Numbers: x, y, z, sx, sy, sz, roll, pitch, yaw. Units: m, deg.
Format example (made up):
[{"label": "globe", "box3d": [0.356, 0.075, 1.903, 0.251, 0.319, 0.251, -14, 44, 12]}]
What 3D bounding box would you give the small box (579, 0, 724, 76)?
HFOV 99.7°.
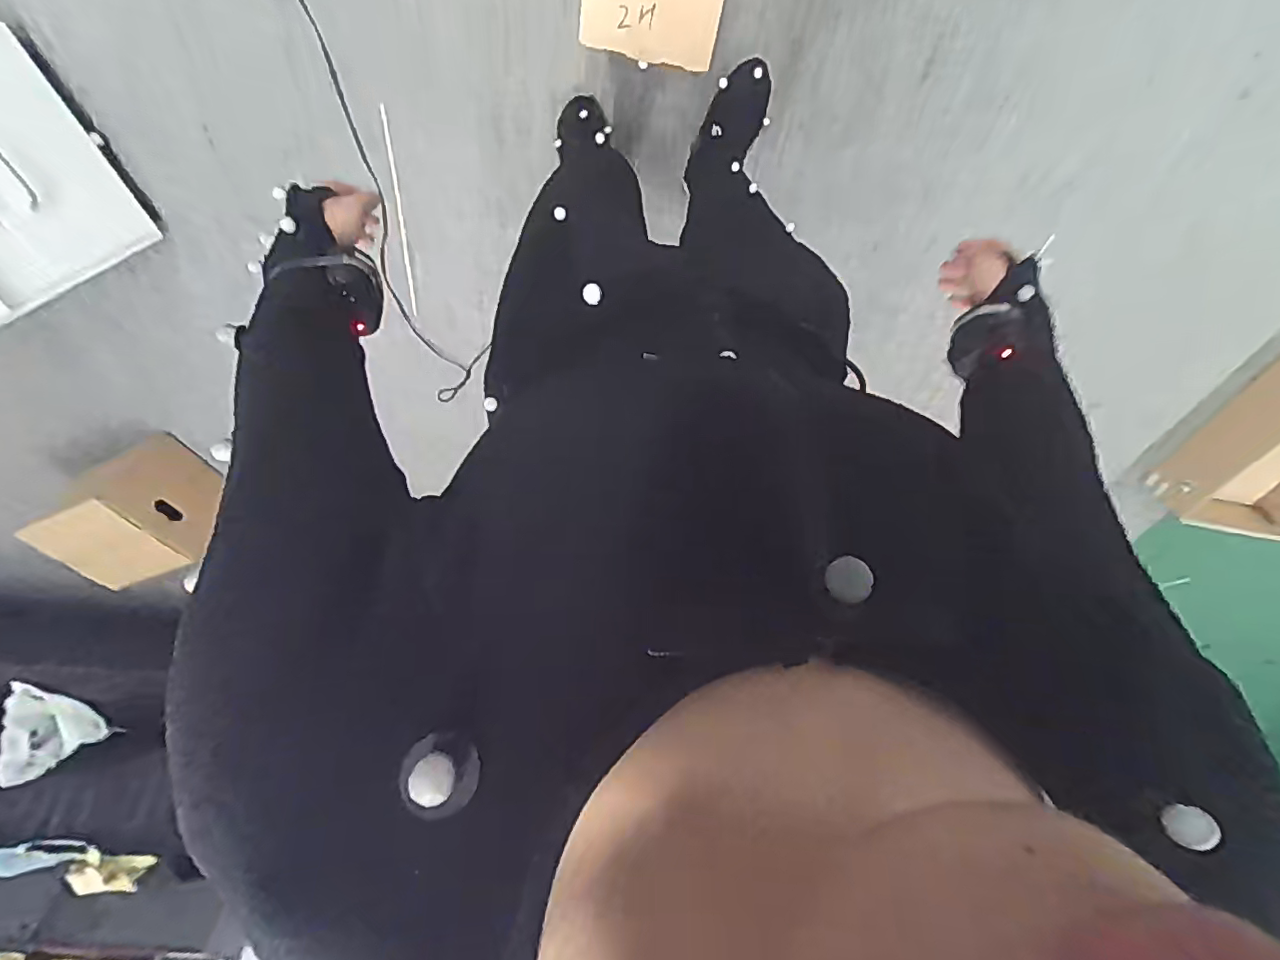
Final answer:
[{"label": "small box", "box3d": [0.022, -0.638, 0.675, 0.168, 0.176, 0.179, 10, 132, -6]}]
